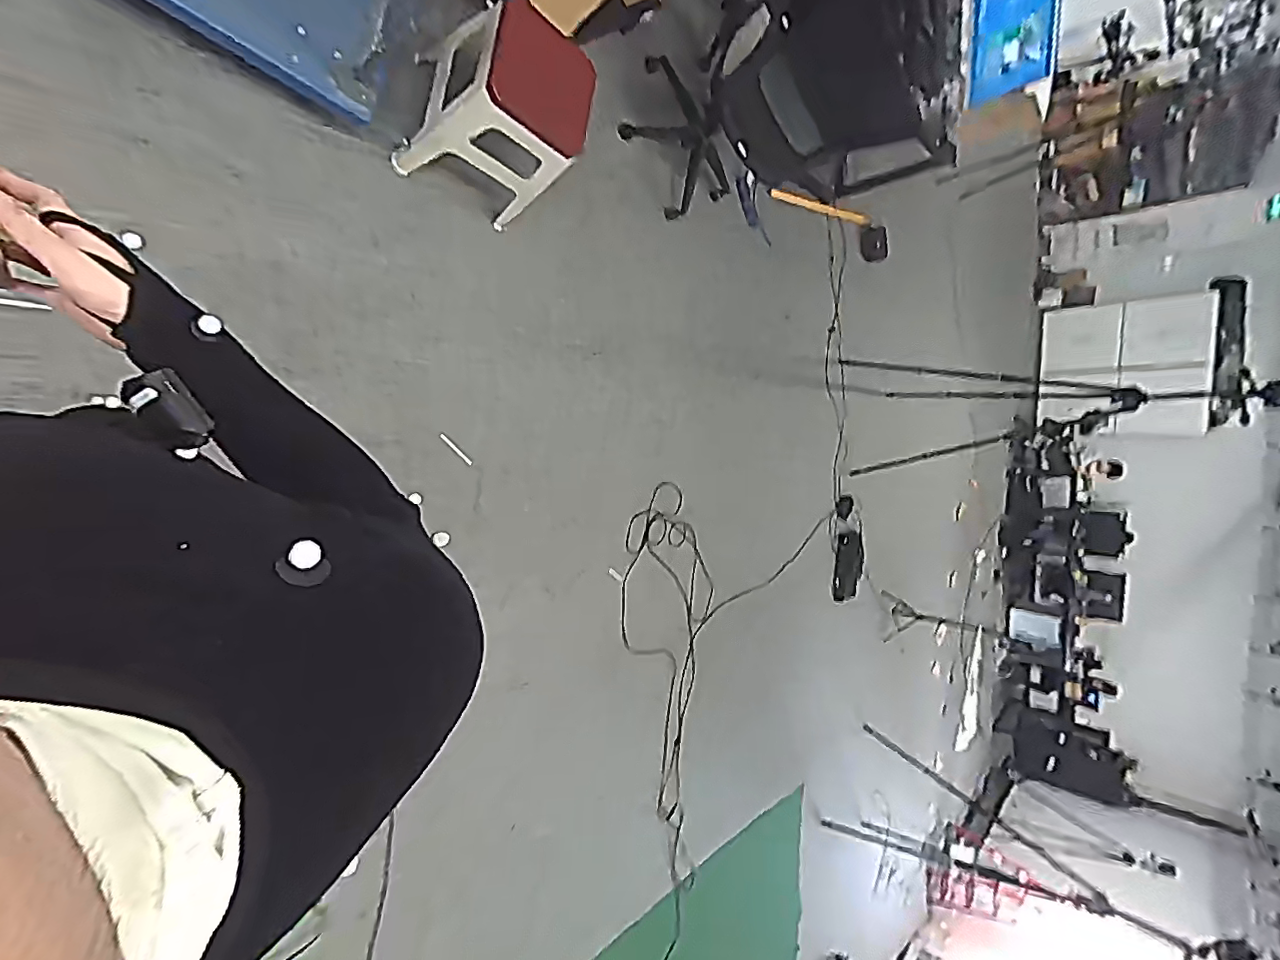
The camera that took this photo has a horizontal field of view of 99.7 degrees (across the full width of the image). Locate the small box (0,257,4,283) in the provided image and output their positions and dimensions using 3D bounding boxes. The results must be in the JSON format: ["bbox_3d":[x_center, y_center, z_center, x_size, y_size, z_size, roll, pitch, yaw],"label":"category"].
[{"bbox_3d":[-0.550,-0.229,0.339,0.168,0.176,0.179,-15,105,-44],"label":"small box"}]

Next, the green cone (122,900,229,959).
[{"bbox_3d":[-1.022,1.198,1.223,0.202,0.368,0.200,-2,96,-46],"label":"green cone"}]
